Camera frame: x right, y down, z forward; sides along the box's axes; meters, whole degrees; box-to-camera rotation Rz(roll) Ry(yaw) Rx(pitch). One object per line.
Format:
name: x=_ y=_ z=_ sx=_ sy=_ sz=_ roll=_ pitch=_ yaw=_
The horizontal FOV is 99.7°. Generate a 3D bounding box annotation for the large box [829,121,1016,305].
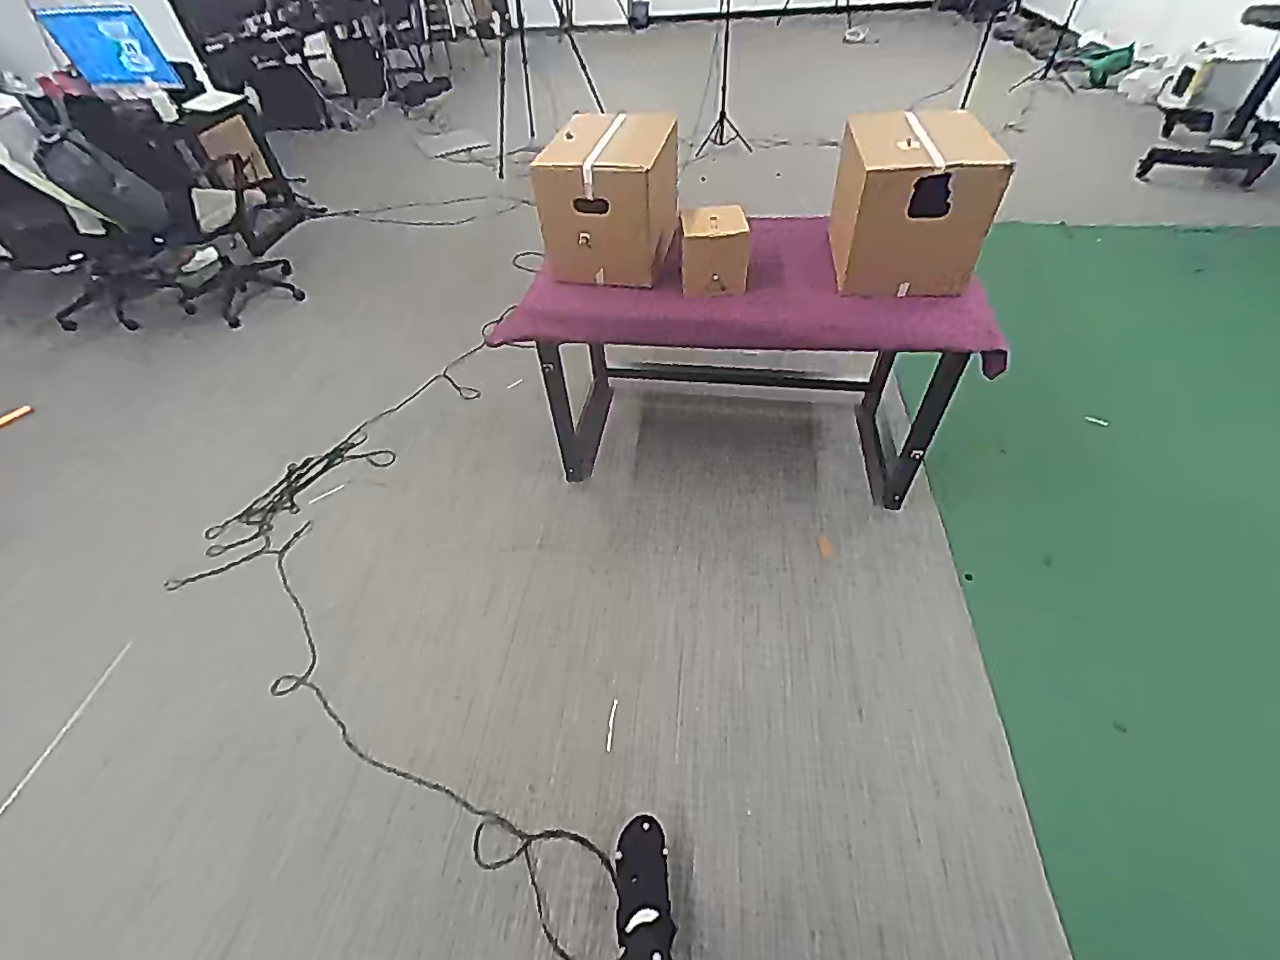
large box: x=0.703 y=-0.709 z=1.432 sx=0.320 sy=0.320 sz=0.408 roll=2 pitch=49 yaw=10
